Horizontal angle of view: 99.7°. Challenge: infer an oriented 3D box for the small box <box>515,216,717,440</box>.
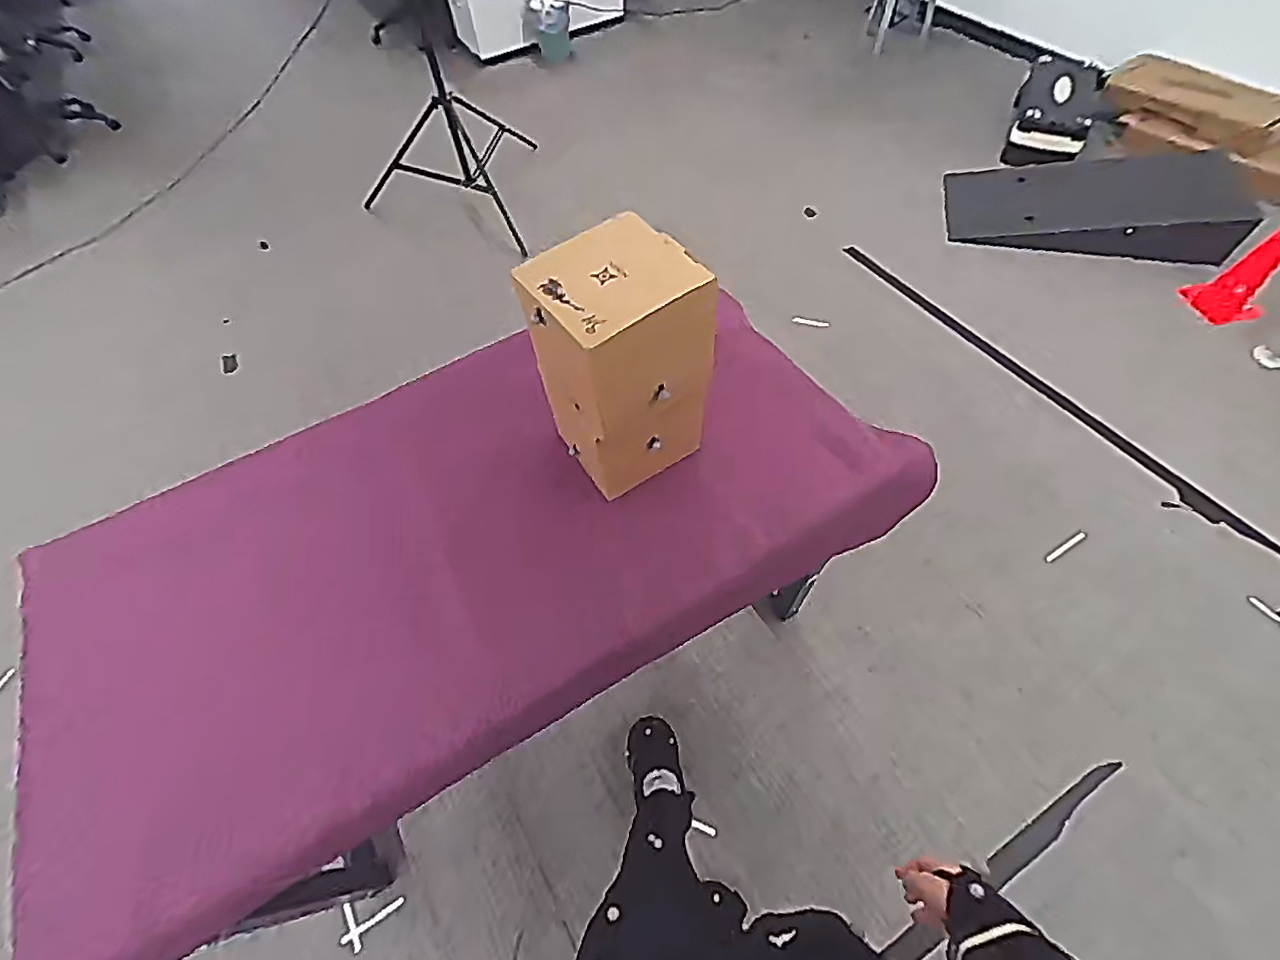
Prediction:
[{"bbox_3d":[-0.027,-0.185,0.674,0.179,0.176,0.168,-33,61,-16],"label":"small box"}]
